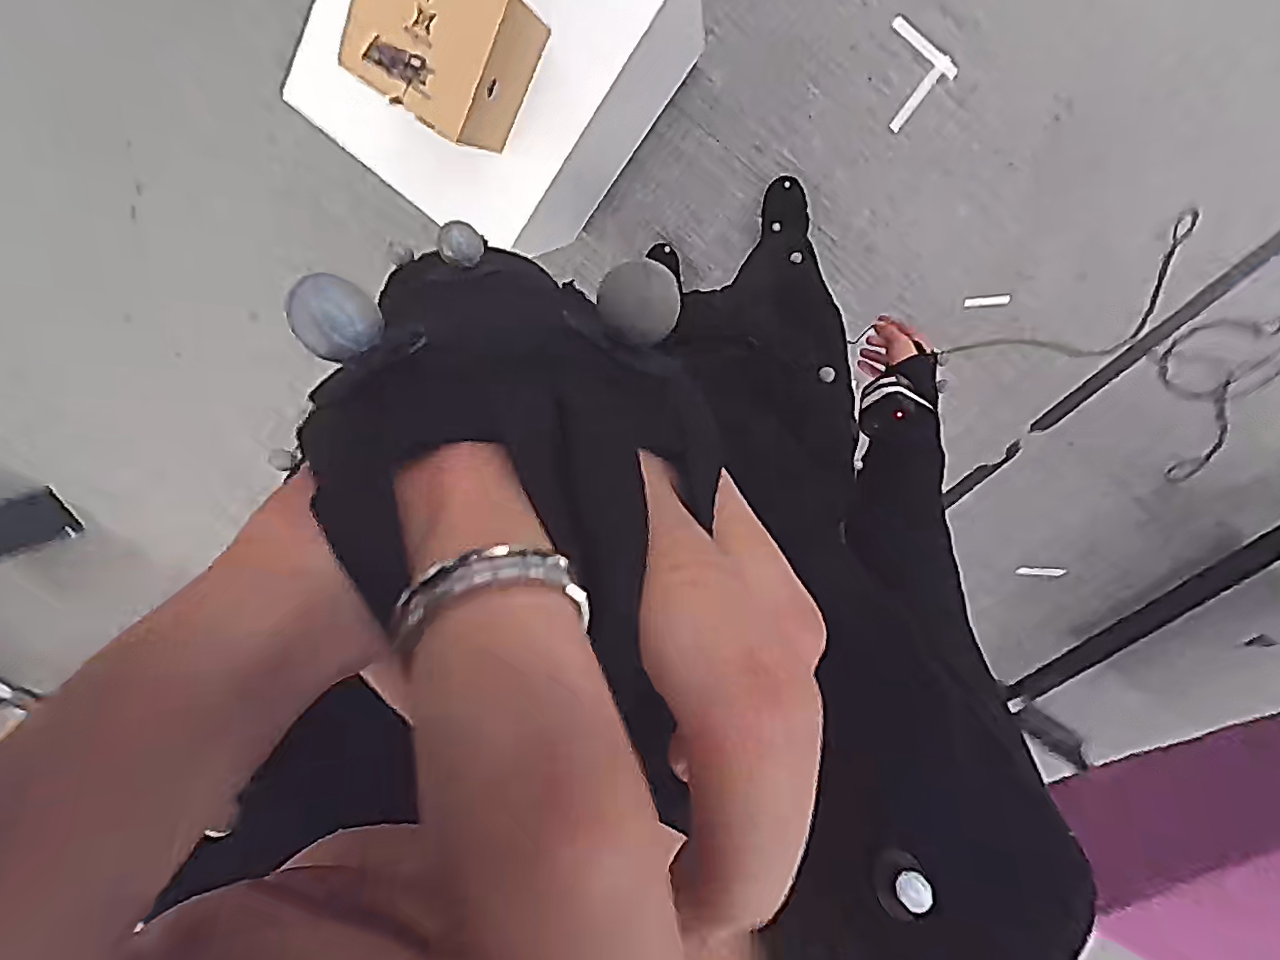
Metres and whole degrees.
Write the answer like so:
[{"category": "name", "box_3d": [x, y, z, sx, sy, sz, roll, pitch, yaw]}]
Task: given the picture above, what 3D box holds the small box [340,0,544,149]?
[{"category": "small box", "box_3d": [-0.245, -0.563, 0.701, 0.168, 0.176, 0.179, 31, 116, -9]}]
